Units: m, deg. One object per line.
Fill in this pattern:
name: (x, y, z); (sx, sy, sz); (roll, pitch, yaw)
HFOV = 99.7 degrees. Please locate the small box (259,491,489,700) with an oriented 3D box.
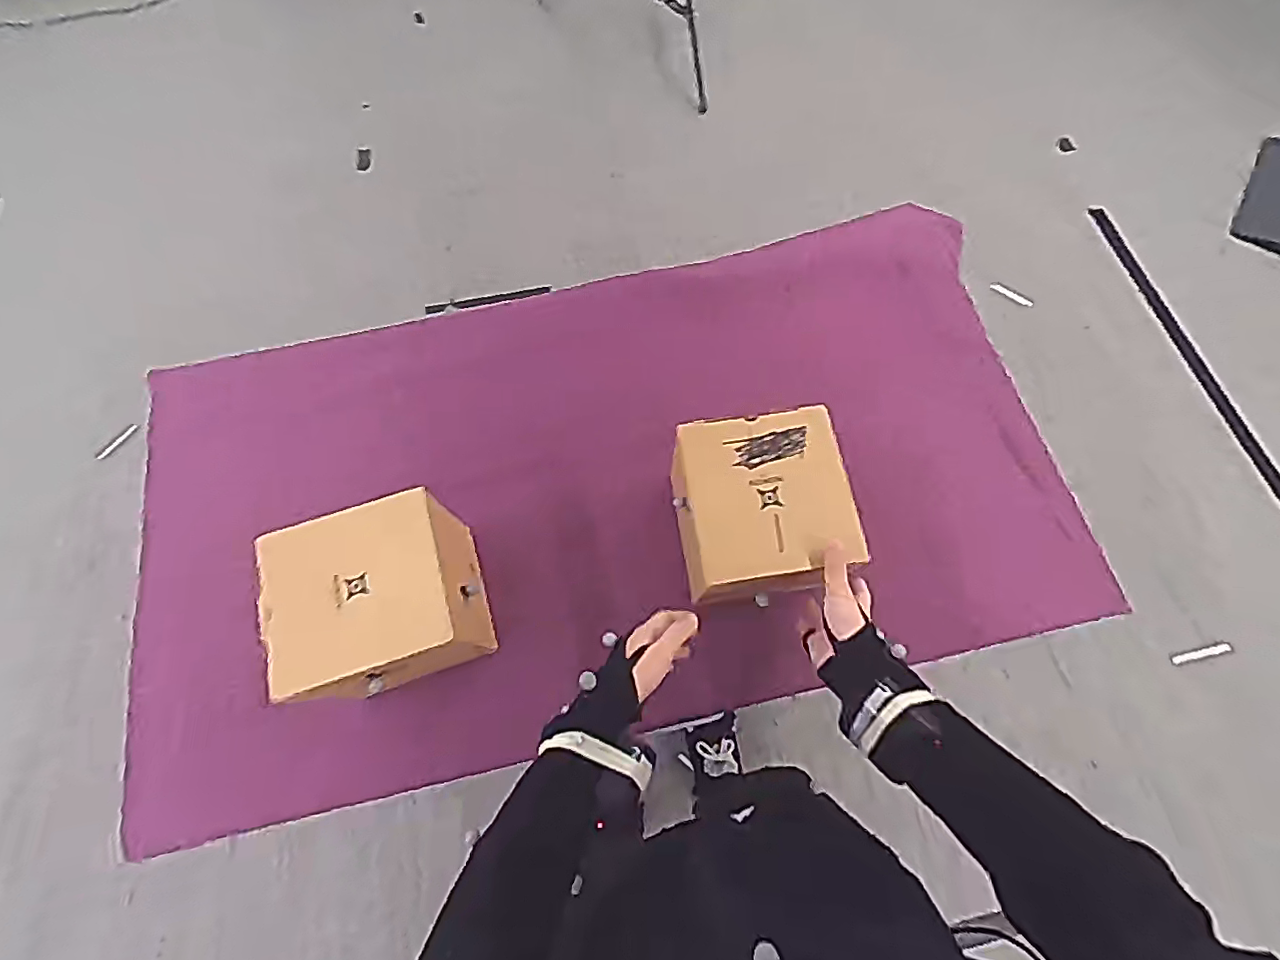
small box: (-0.282, 0.133, 0.610); (0.179, 0.176, 0.168); (-18, 71, -6)

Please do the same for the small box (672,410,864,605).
small box: (0.131, 0.040, 0.634); (0.168, 0.176, 0.179); (-8, 71, -1)
